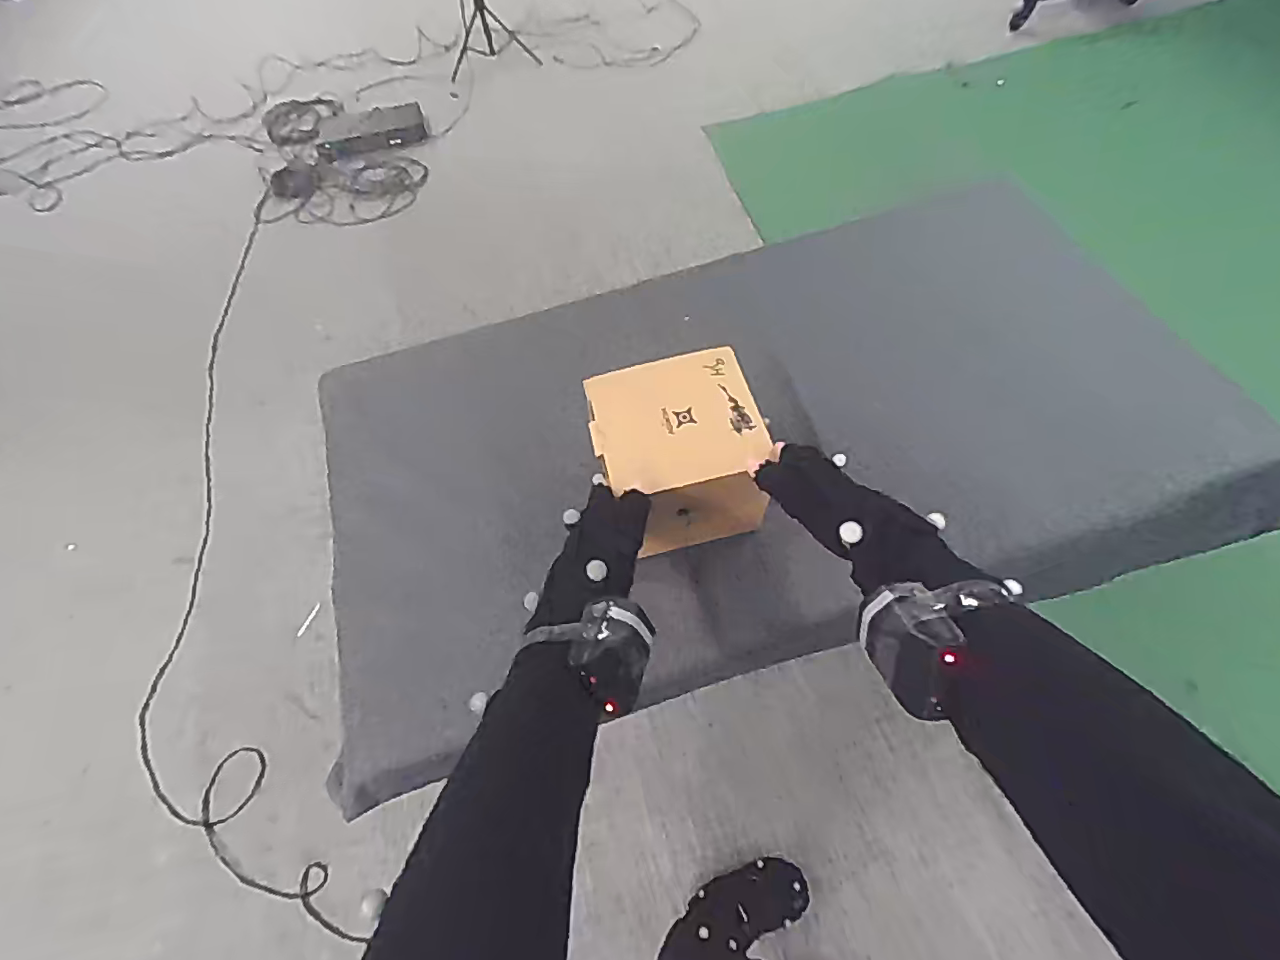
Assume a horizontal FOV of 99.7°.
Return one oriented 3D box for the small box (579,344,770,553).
[{"bbox_3d":[0.039,-0.028,0.645,0.179,0.176,0.168,-14,62,-2],"label":"small box"}]
